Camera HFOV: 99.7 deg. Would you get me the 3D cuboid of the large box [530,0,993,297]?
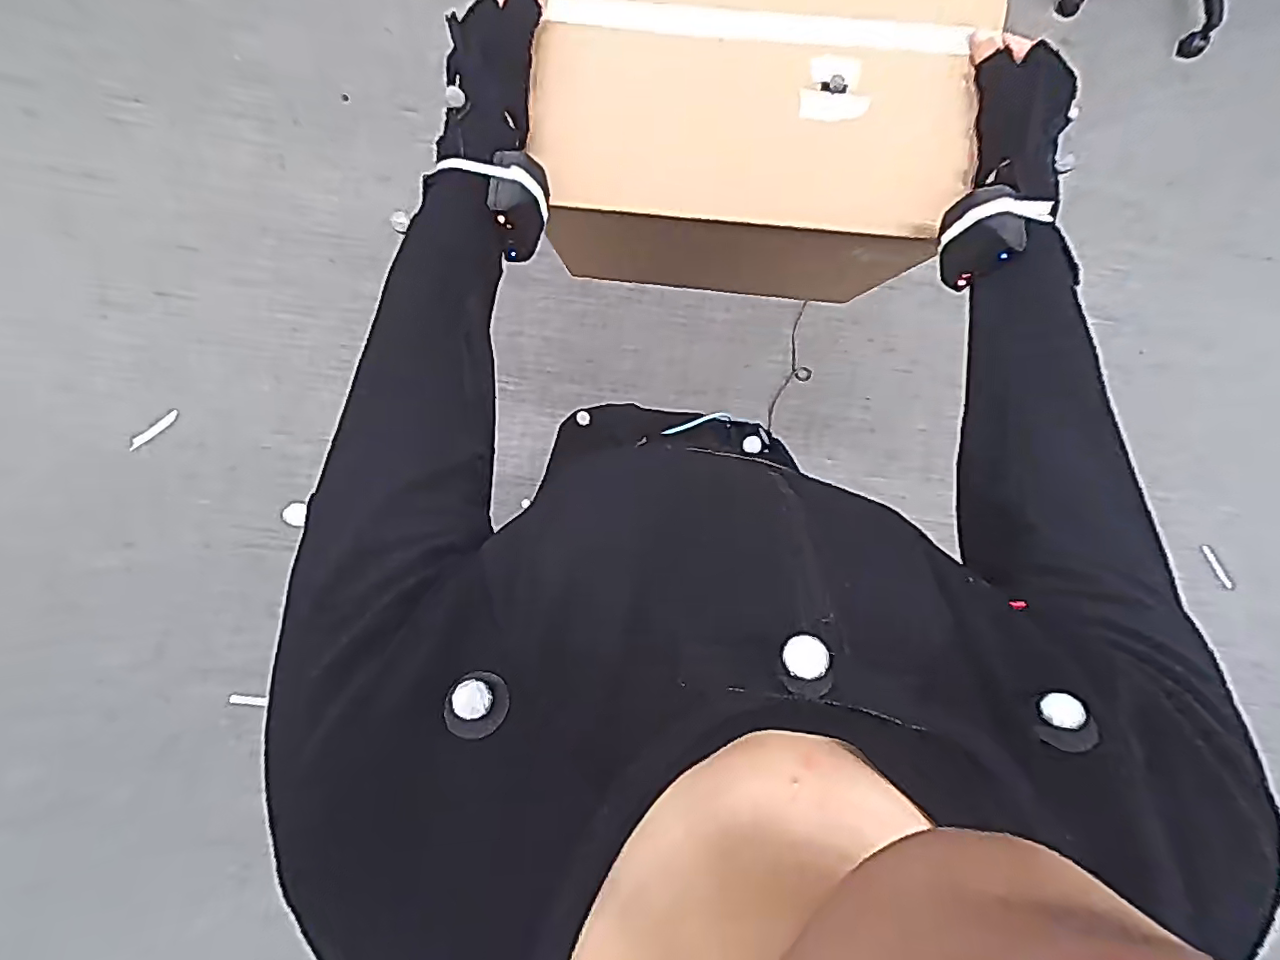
[{"bbox_3d":[0.106,-0.412,0.625,0.408,0.320,0.320,5,99,0],"label":"large box"}]
